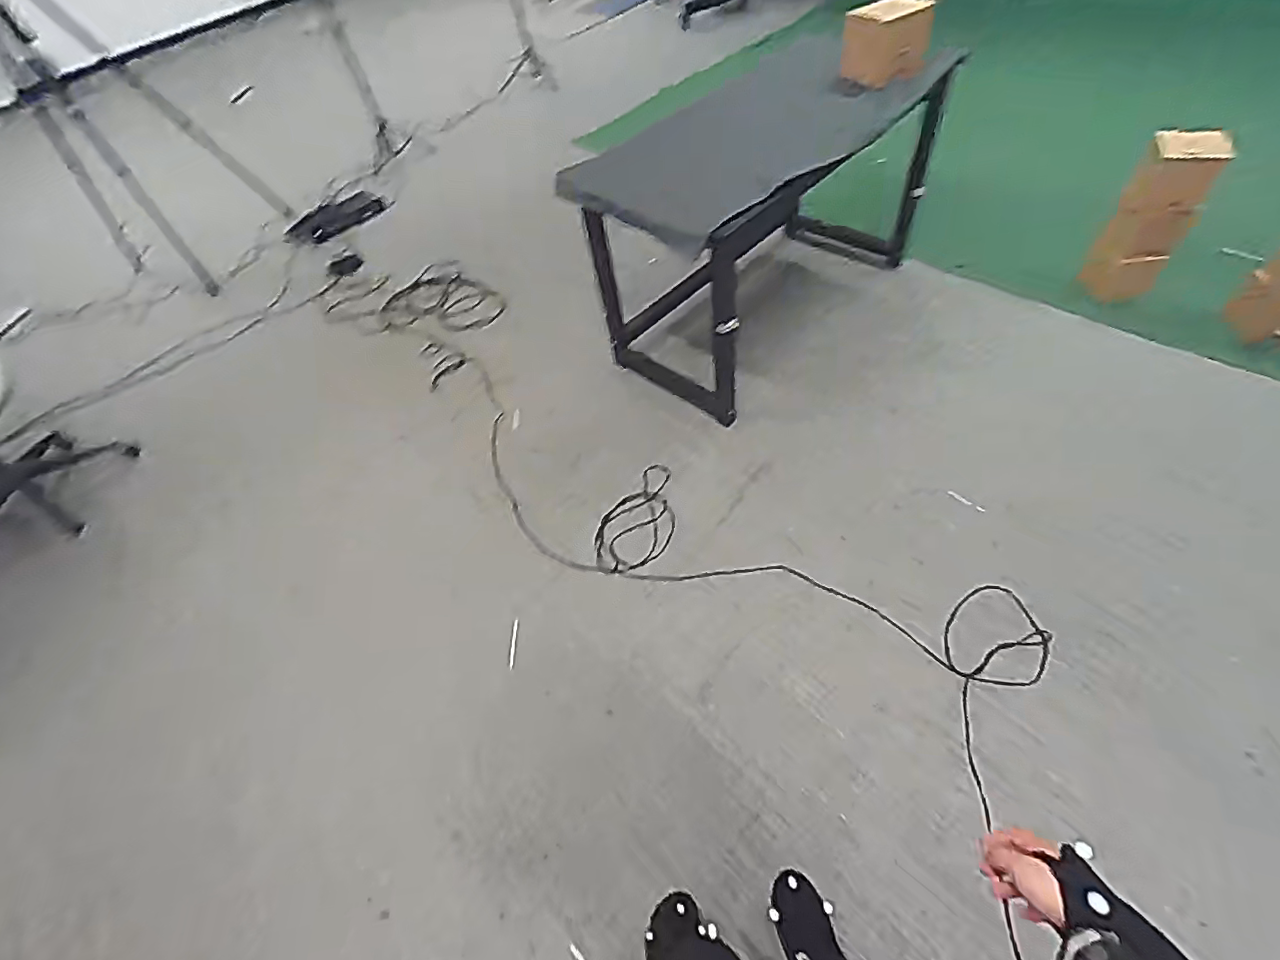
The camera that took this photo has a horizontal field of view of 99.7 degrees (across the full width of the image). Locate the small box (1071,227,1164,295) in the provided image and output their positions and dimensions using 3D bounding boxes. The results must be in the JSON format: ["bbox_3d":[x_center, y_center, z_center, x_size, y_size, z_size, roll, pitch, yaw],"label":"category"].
[{"bbox_3d":[1.746,-0.797,1.989,0.168,0.176,0.179,-5,53,7],"label":"small box"}]

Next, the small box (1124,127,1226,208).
[{"bbox_3d":[1.704,-1.005,1.737,0.168,0.176,0.179,11,57,18],"label":"small box"}]

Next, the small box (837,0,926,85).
[{"bbox_3d":[0.728,-1.338,1.650,0.168,0.176,0.179,-25,52,-8],"label":"small box"}]

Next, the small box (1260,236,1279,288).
[{"bbox_3d":[2.061,-0.686,1.645,0.168,0.176,0.179,19,59,21],"label":"small box"}]

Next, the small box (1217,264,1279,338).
[{"bbox_3d":[2.076,-0.588,1.774,0.168,0.176,0.179,1,56,11],"label":"small box"}]
